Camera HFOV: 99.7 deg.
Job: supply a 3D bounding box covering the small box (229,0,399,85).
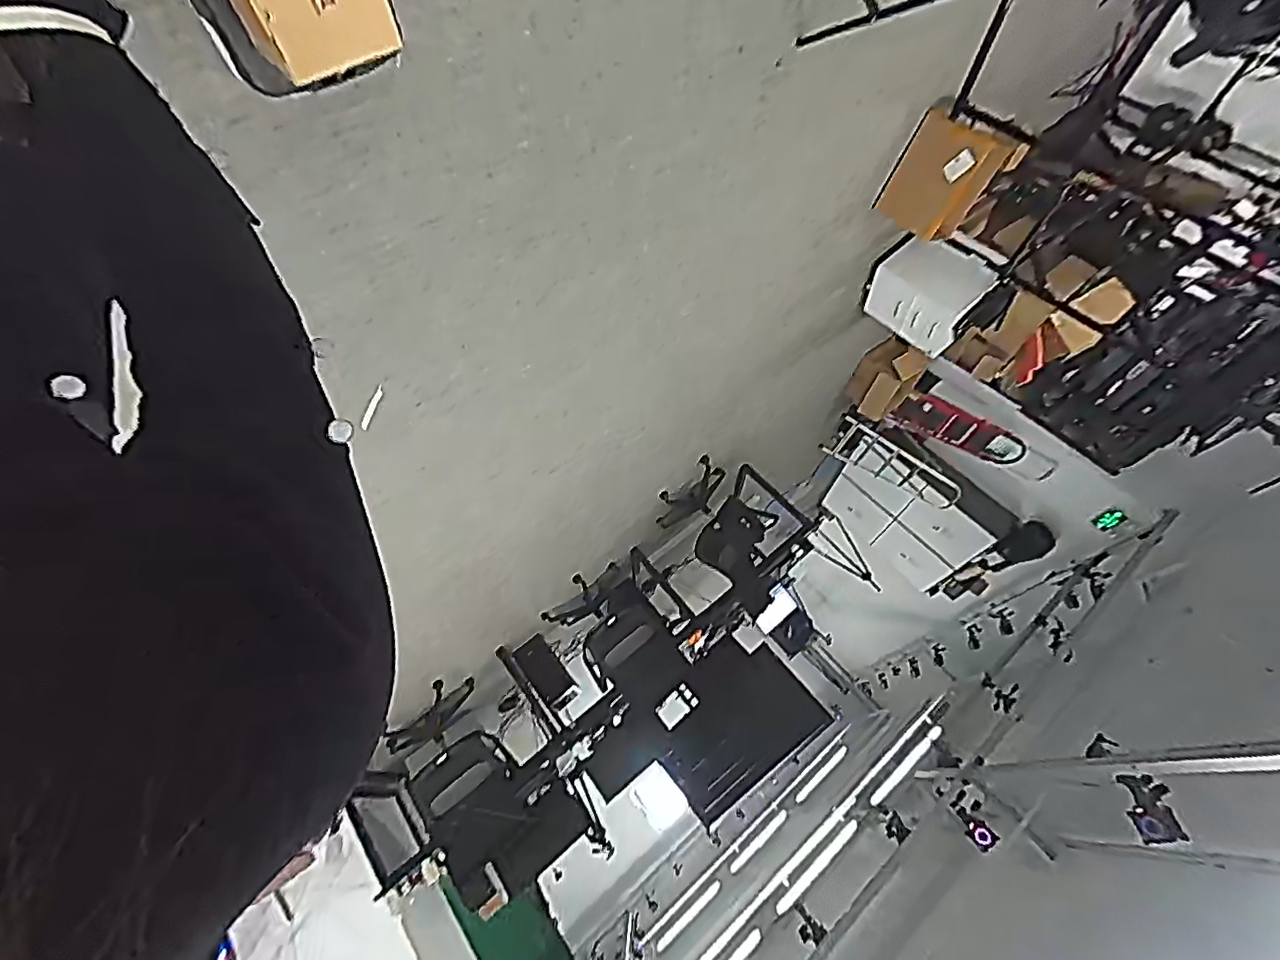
[{"bbox_3d":[-0.490,-0.717,0.774,0.179,0.176,0.168,-36,156,-17],"label":"small box"}]
